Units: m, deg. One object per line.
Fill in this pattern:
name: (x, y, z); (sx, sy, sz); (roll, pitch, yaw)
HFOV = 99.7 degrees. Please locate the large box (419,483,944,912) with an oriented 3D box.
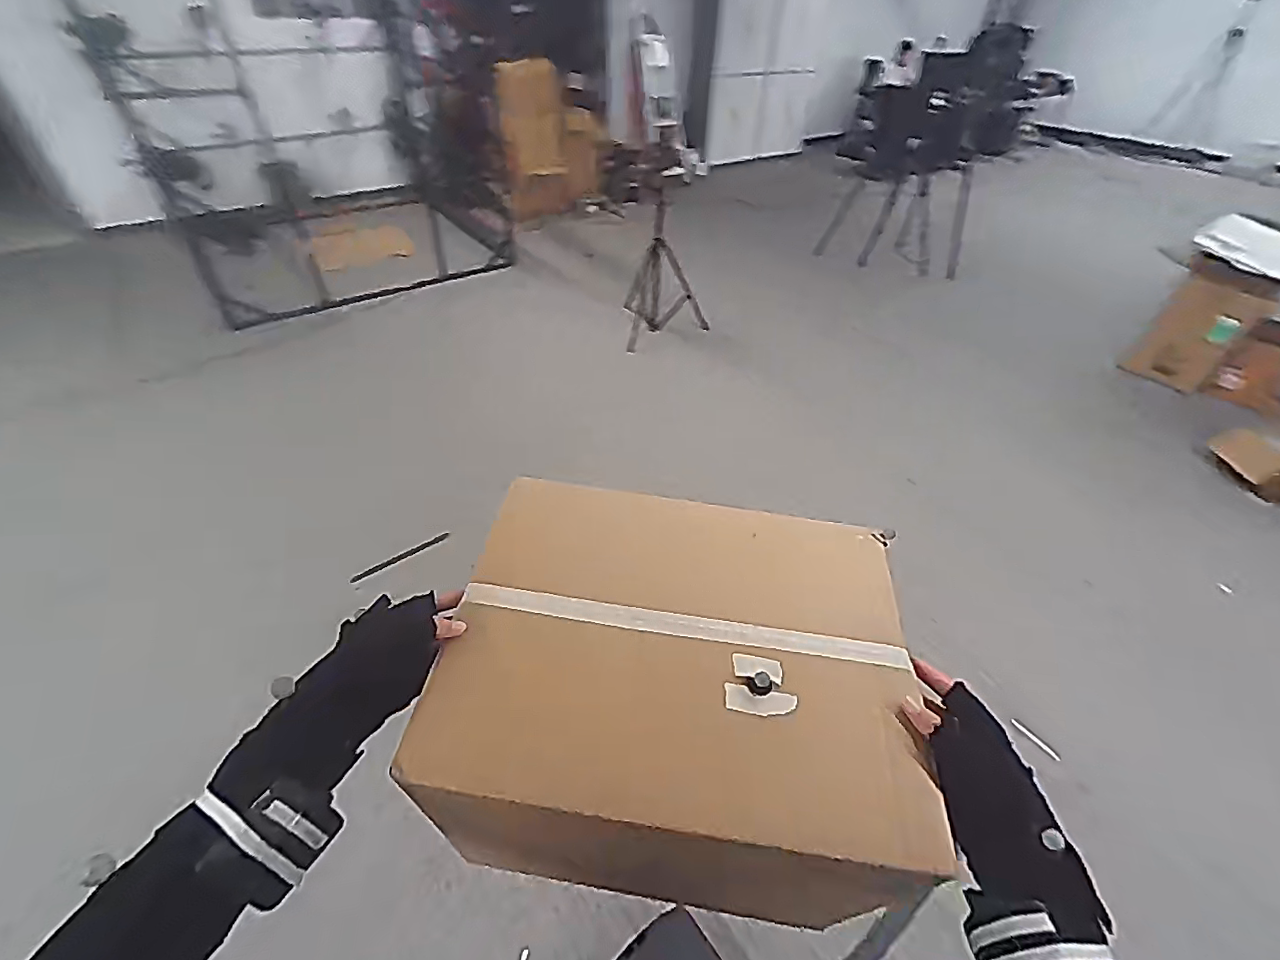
large box: (0.034, 0.241, 0.607); (0.408, 0.320, 0.320); (9, 46, 3)
